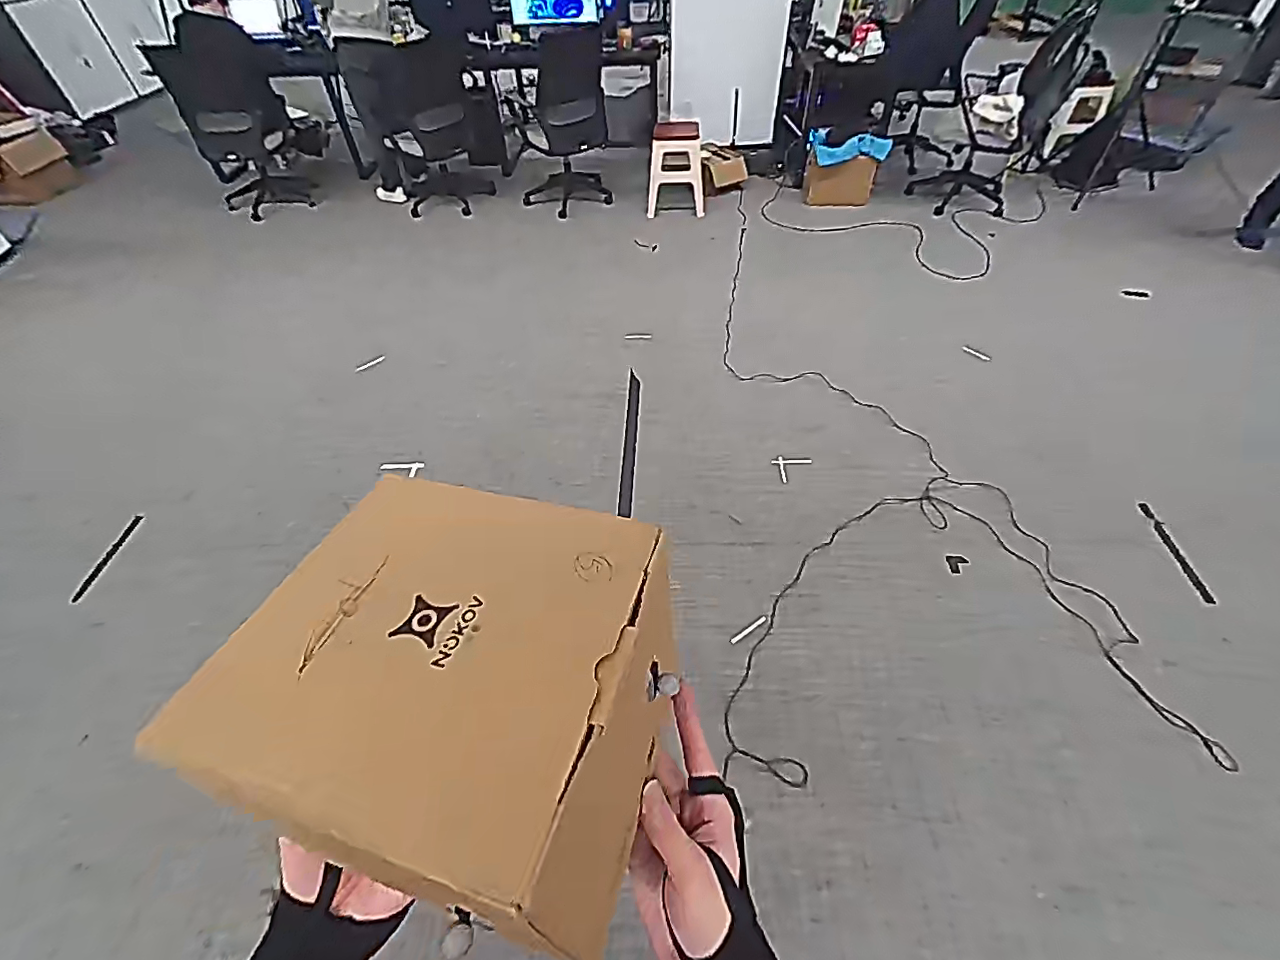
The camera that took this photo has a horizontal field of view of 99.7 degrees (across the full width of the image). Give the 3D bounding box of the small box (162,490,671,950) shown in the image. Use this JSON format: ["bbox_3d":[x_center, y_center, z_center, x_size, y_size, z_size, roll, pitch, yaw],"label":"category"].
[{"bbox_3d":[-0.084,0.131,0.306,0.179,0.176,0.168,8,44,15],"label":"small box"}]
